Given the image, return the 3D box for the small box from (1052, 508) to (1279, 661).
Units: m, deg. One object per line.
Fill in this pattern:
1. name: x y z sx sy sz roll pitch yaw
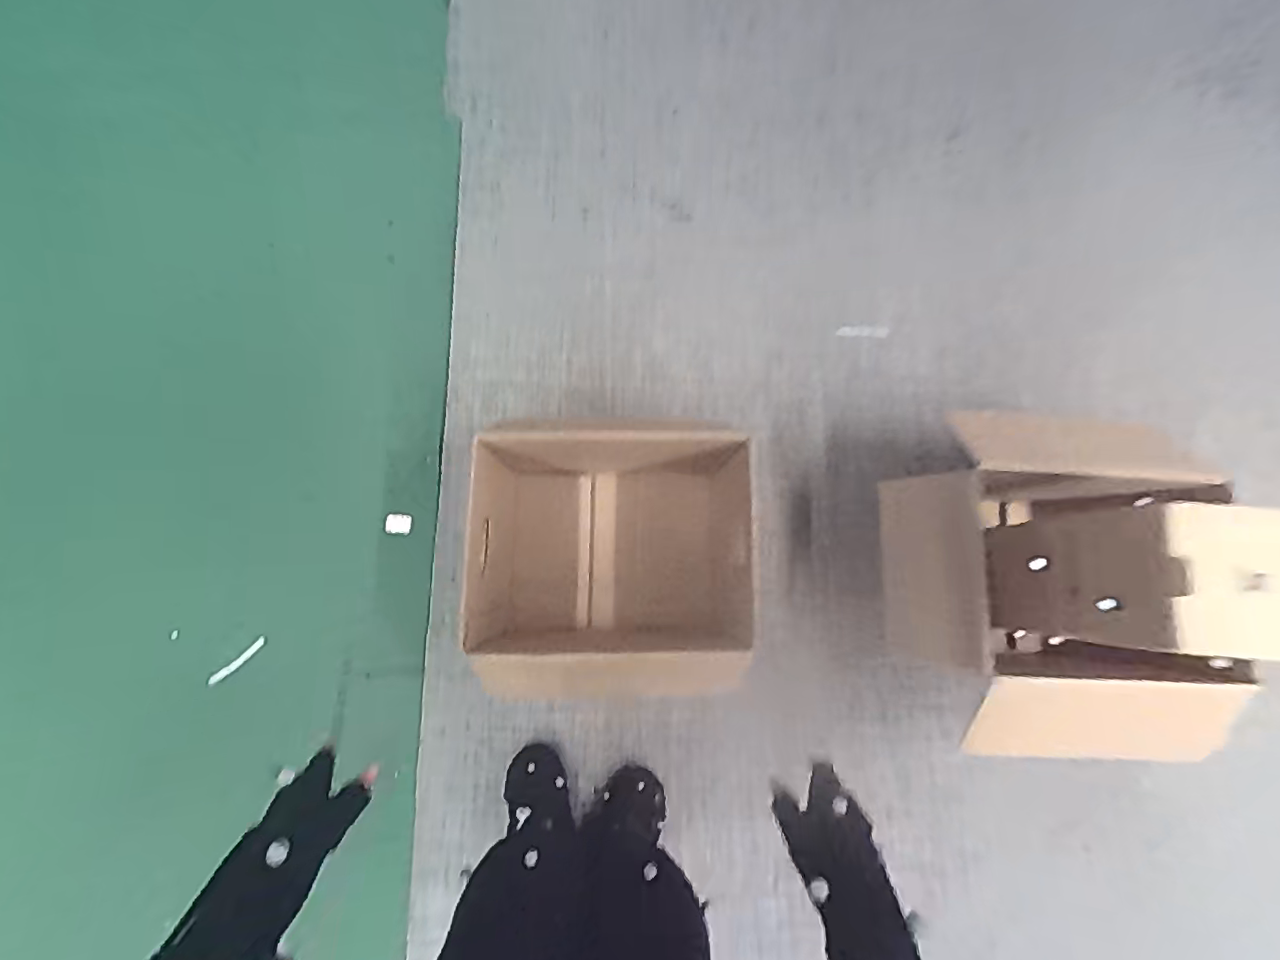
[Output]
1. small box: 0.662 0.130 0.684 0.179 0.176 0.168 3 81 -1
